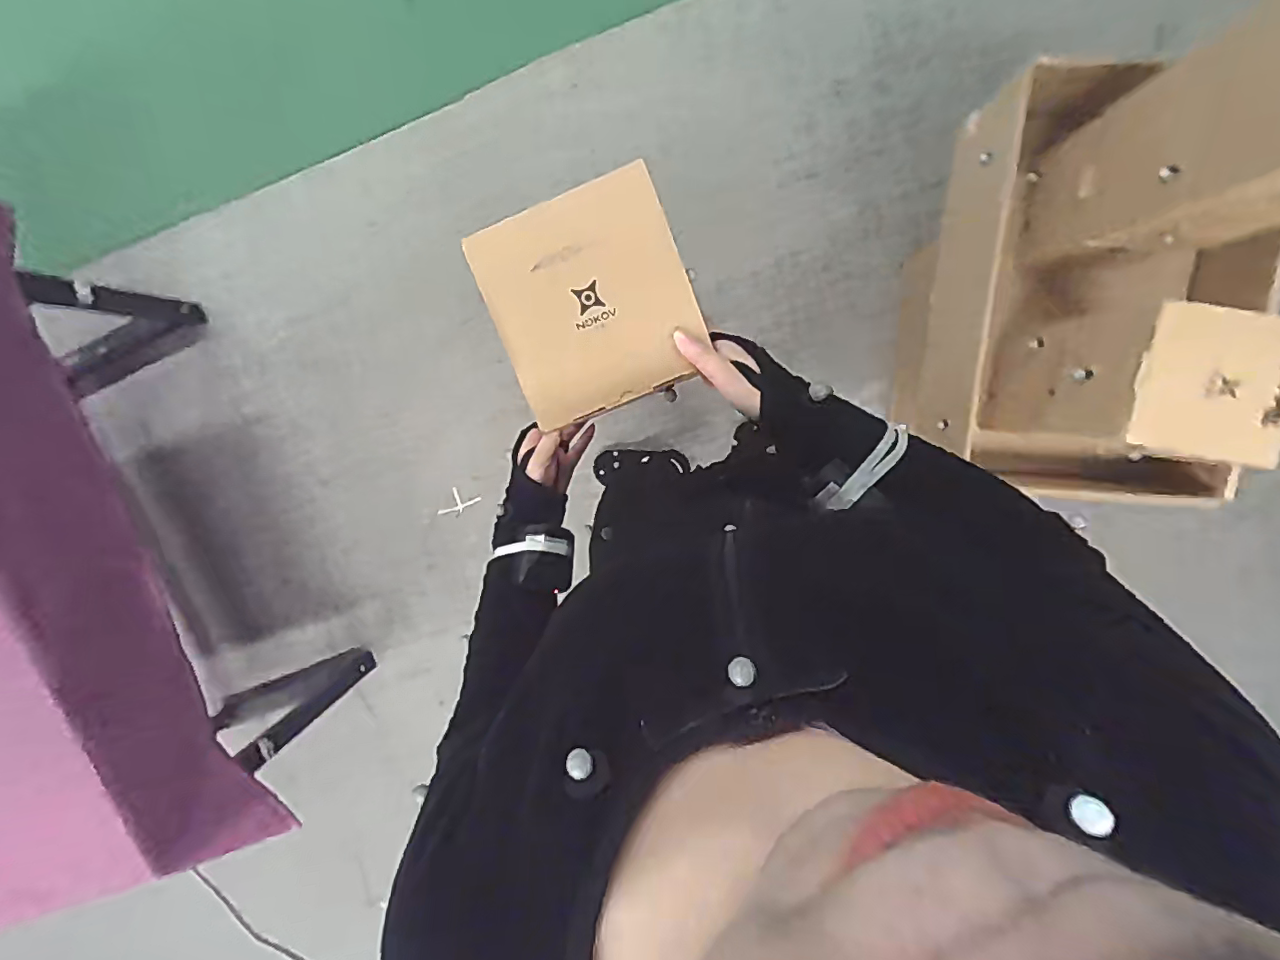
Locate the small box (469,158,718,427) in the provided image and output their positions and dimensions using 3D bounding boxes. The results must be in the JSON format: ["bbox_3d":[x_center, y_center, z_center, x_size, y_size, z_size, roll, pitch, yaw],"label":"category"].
[{"bbox_3d":[-0.034,-0.165,0.528,0.168,0.176,0.179,-20,98,4],"label":"small box"}]

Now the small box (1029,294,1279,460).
[{"bbox_3d":[0.658,-0.129,0.703,0.179,0.176,0.168,11,100,3],"label":"small box"}]

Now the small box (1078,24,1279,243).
[{"bbox_3d":[0.686,-0.406,0.660,0.168,0.176,0.179,3,100,4],"label":"small box"}]
